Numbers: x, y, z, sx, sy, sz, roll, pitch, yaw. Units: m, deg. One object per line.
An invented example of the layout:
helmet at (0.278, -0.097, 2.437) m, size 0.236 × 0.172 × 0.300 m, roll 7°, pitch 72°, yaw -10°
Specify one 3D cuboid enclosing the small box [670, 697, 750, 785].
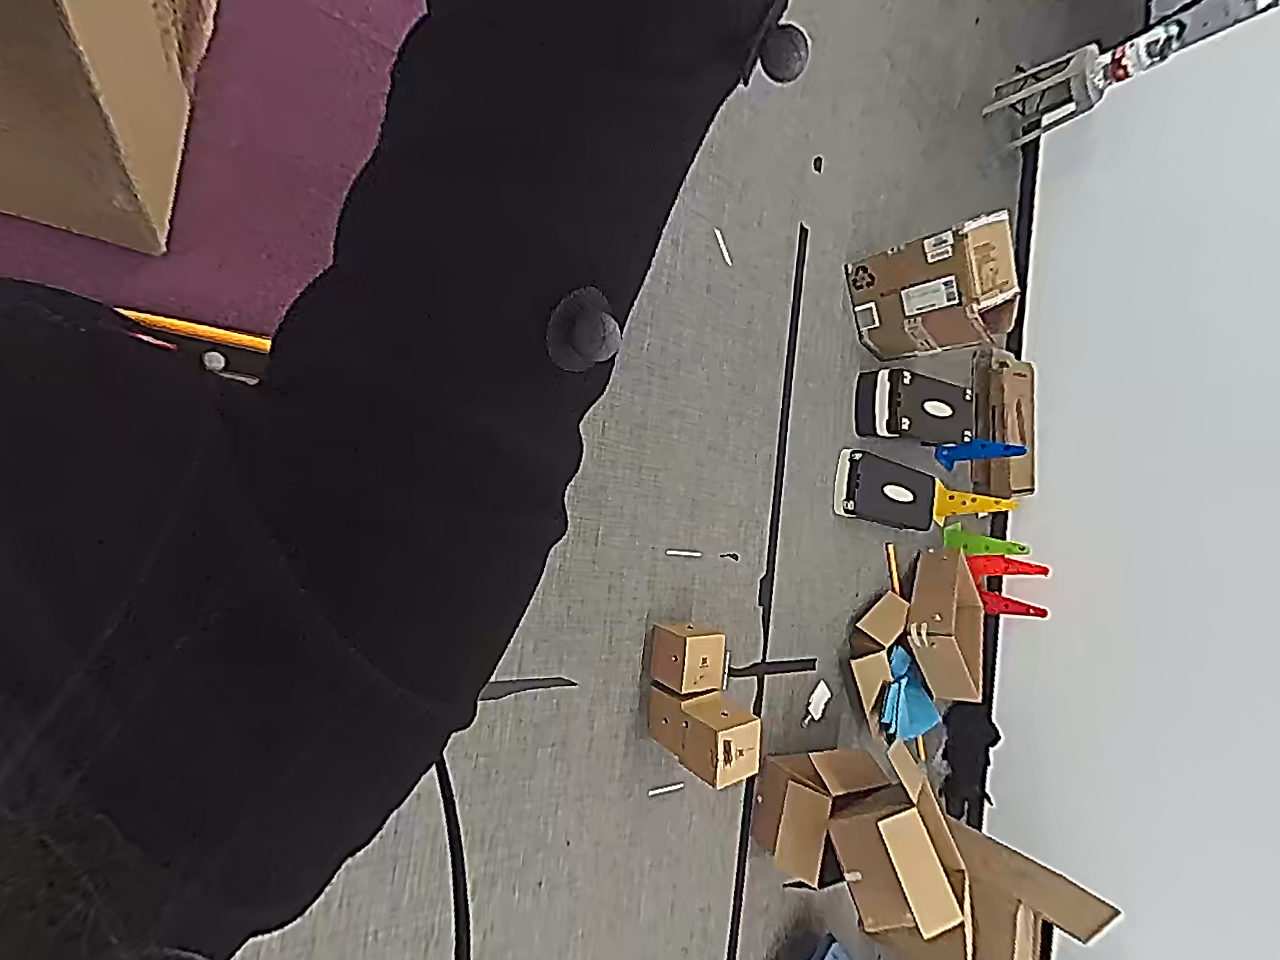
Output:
small box at (0.206, 0.776, 1.626) m, size 0.179 × 0.176 × 0.168 m, roll 3°, pitch 91°, yaw -37°
